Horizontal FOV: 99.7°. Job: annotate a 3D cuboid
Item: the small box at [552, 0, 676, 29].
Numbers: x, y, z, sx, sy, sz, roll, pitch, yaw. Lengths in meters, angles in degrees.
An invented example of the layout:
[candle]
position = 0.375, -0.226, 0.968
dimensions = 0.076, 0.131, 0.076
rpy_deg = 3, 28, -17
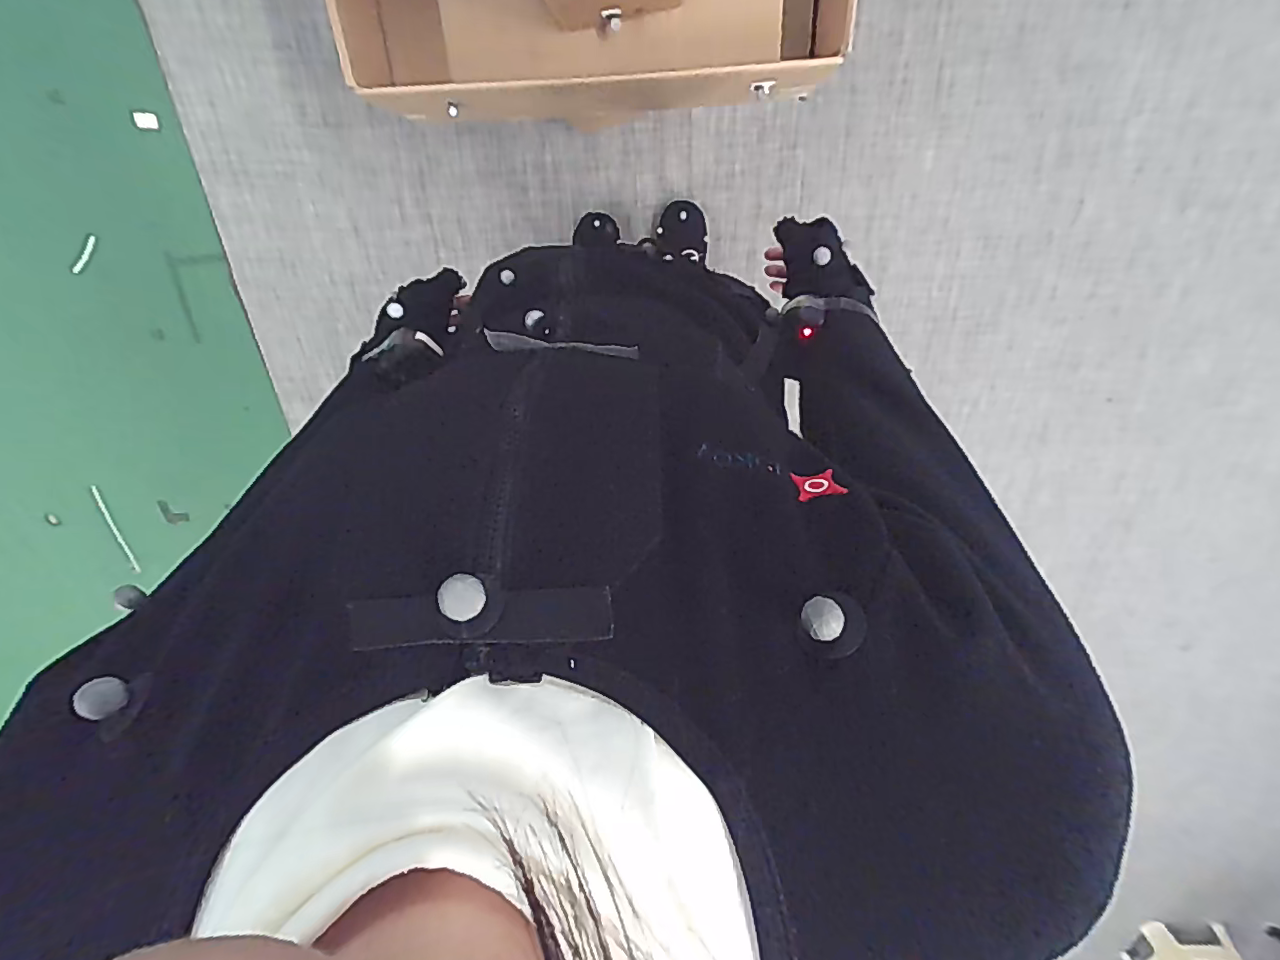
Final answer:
[small box]
position = -0.044, -0.672, 0.630
dimensions = 0.168, 0.176, 0.179
rpy_deg = -7, 118, 7
